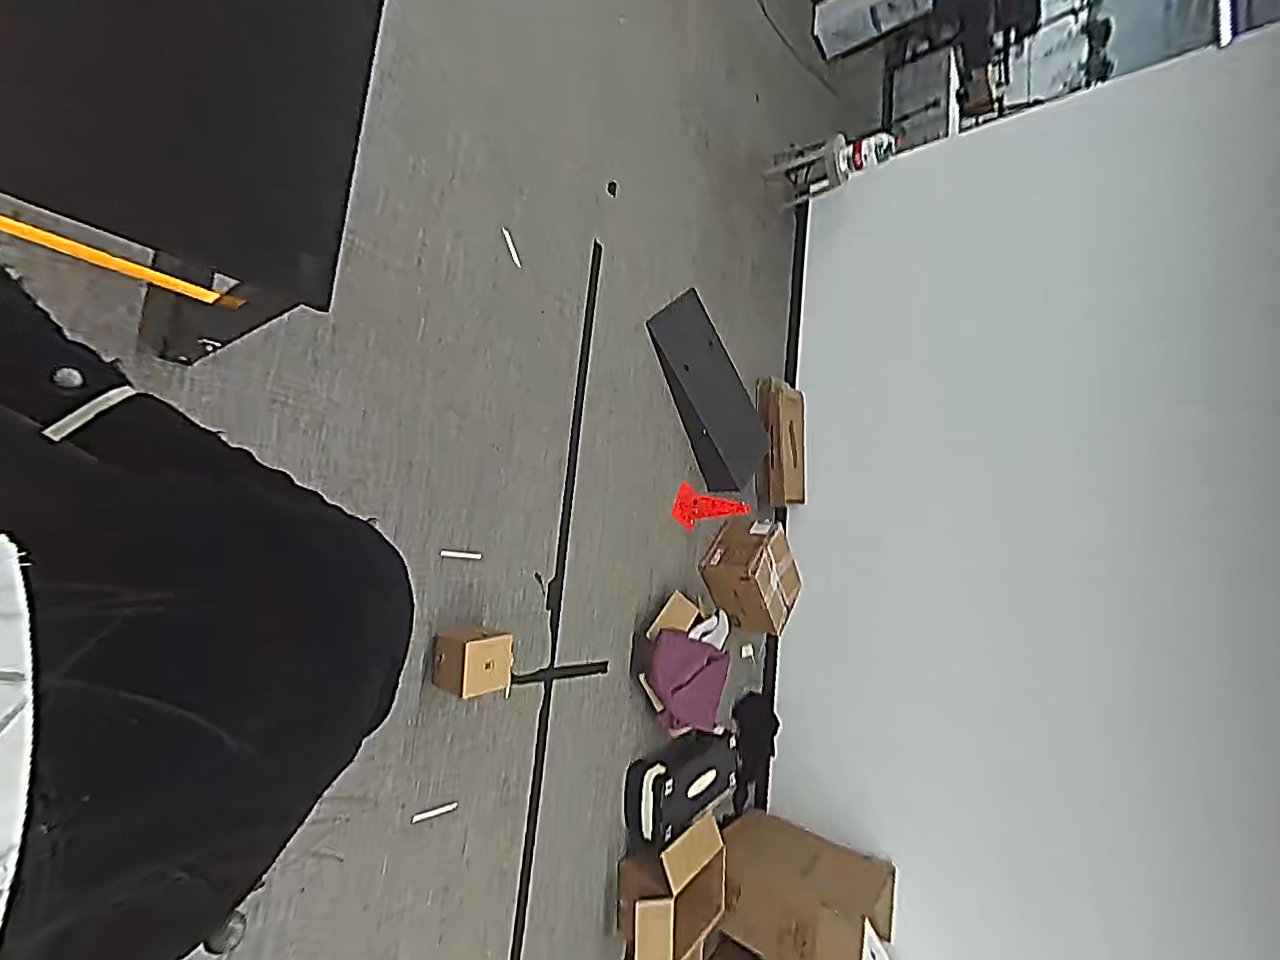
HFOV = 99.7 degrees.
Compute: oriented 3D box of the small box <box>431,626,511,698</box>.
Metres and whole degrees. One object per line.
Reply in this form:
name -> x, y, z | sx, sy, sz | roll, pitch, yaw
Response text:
small box -> -0.529, 0.561, 1.695 | 0.179, 0.176, 0.168 | 5, 85, -50
